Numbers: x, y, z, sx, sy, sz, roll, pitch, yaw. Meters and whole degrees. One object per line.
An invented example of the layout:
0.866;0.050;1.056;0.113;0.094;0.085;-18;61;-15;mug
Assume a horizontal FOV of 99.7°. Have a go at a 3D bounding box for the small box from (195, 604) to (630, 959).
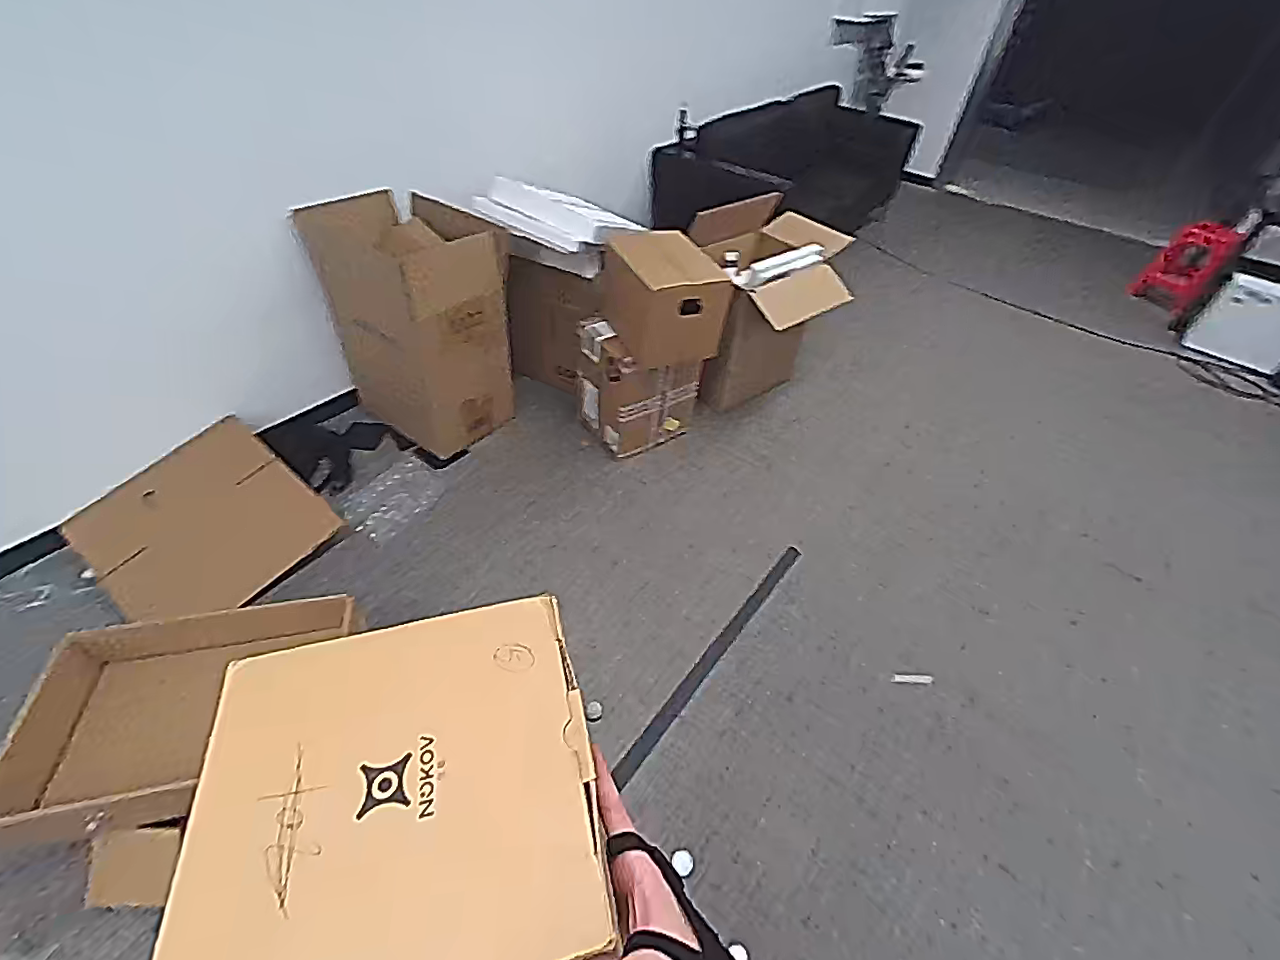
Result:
-0.108;0.202;0.322;0.179;0.176;0.168;-11;47;-9;small box
